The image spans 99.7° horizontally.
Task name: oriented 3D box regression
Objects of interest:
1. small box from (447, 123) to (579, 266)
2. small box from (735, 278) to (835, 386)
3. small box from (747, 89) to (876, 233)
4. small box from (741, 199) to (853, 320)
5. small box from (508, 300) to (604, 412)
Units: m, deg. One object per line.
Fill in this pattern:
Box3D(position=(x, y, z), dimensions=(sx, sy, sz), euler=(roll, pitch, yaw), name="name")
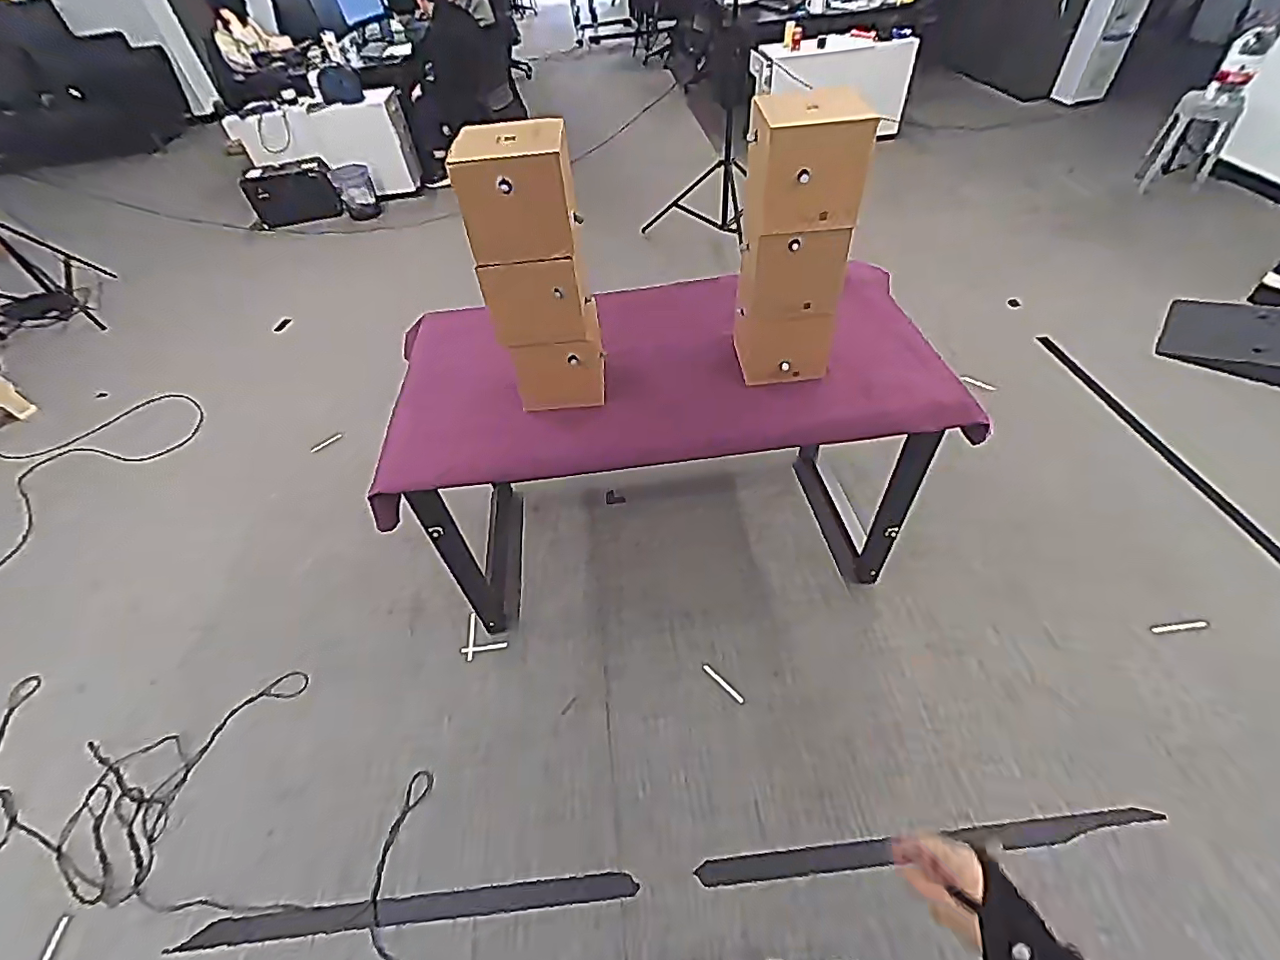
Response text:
Box3D(position=(-0.205, -0.481, 0.922), dimensions=(0.179, 0.176, 0.168), euler=(-5, 49, 0), name="small box")
Box3D(position=(0.303, -0.326, 1.171), dimensions=(0.168, 0.176, 0.179), euler=(-6, 48, 2), name="small box")
Box3D(position=(0.279, -0.535, 0.920), dimensions=(0.168, 0.176, 0.179), euler=(-4, 48, 3), name="small box")
Box3D(position=(0.290, -0.431, 1.046), dimensions=(0.168, 0.176, 0.179), euler=(-4, 47, 3), name="small box")
Box3D(position=(-0.170, -0.264, 1.164), dimensions=(0.179, 0.176, 0.168), euler=(-5, 47, 2), name="small box")
